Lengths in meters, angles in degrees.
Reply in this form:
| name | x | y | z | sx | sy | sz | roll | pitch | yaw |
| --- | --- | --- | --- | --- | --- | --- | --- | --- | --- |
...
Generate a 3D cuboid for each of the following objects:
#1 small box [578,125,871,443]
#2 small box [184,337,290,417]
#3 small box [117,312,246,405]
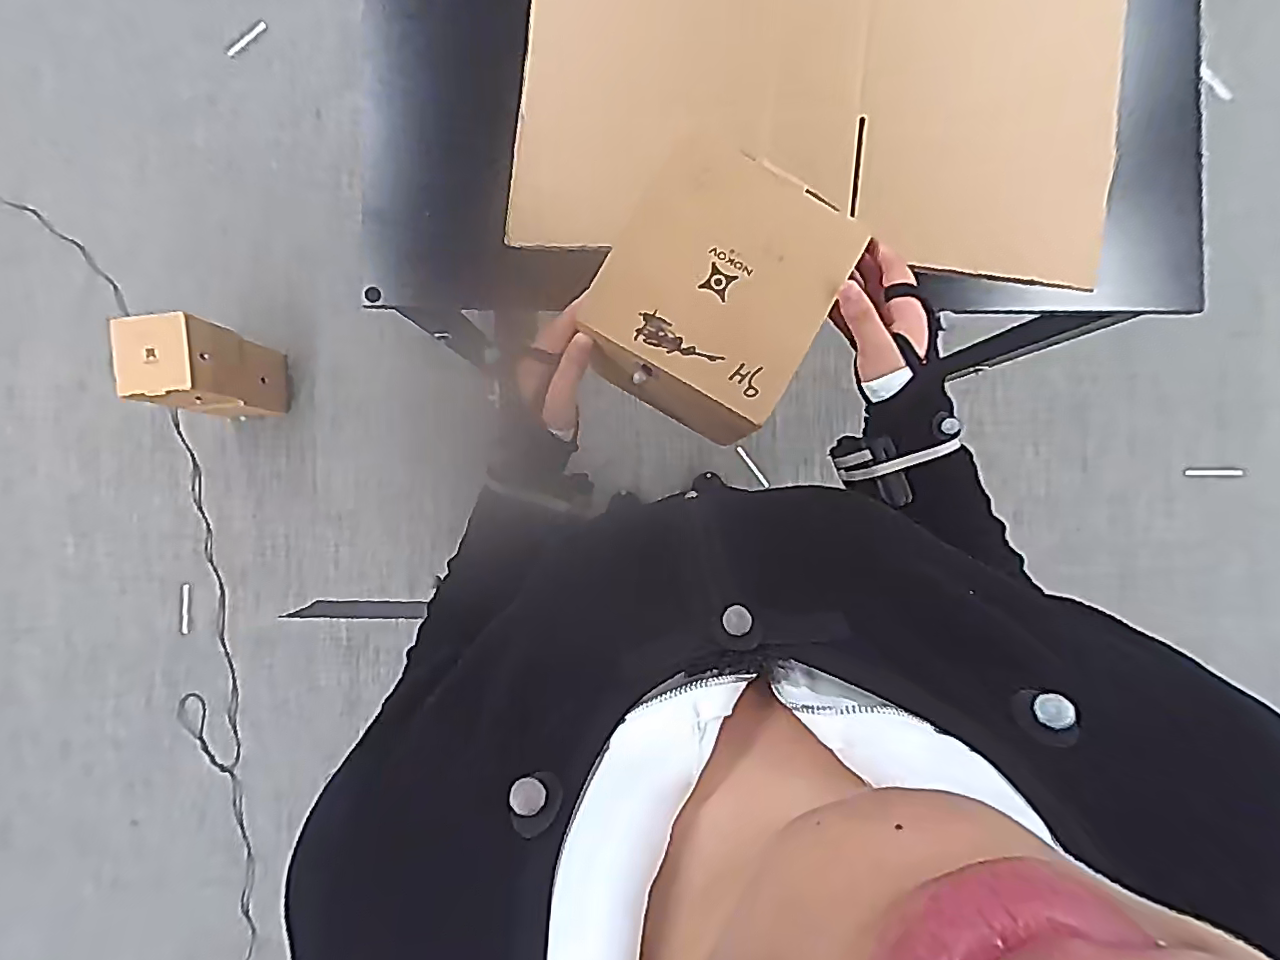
| name | x | y | z | sx | sy | sz | roll | pitch | yaw |
| --- | --- | --- | --- | --- | --- | --- | --- | --- | --- |
| small box | 0.063 | -0.153 | 0.485 | 0.168 | 0.176 | 0.179 | 30 | 87 | 2 |
| small box | -1.064 | -0.268 | 1.435 | 0.168 | 0.176 | 0.179 | -3 | 90 | 0 |
| small box | -1.067 | -0.277 | 1.273 | 0.168 | 0.176 | 0.179 | -6 | 88 | -1 |
